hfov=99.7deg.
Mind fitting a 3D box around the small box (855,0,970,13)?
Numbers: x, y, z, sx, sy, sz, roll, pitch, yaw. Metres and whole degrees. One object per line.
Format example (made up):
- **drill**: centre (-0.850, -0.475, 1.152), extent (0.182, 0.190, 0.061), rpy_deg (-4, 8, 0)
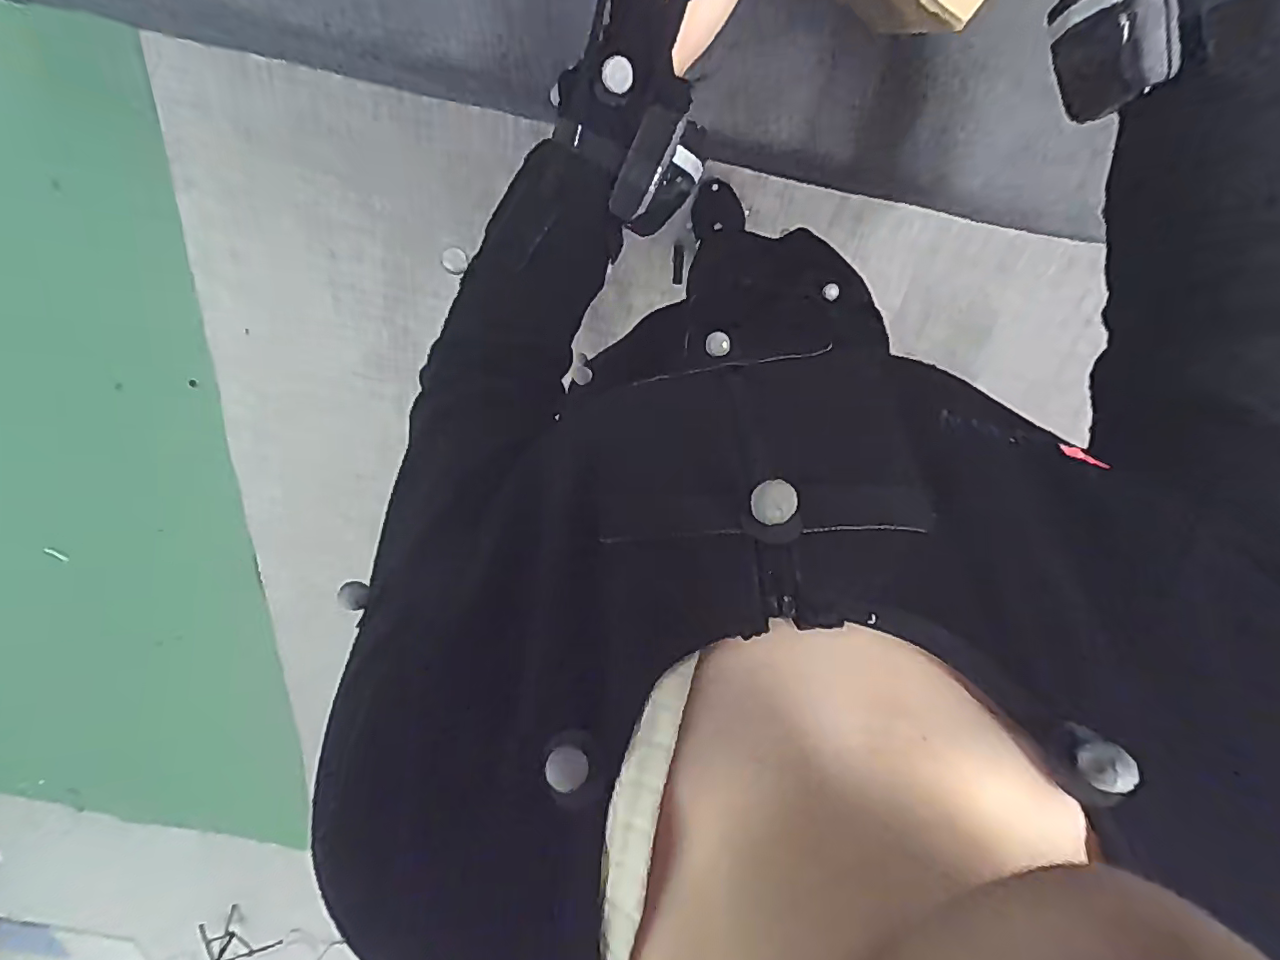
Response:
- **small box**: centre (0.153, -0.394, 0.288), extent (0.168, 0.176, 0.179), rpy_deg (25, 126, -16)
